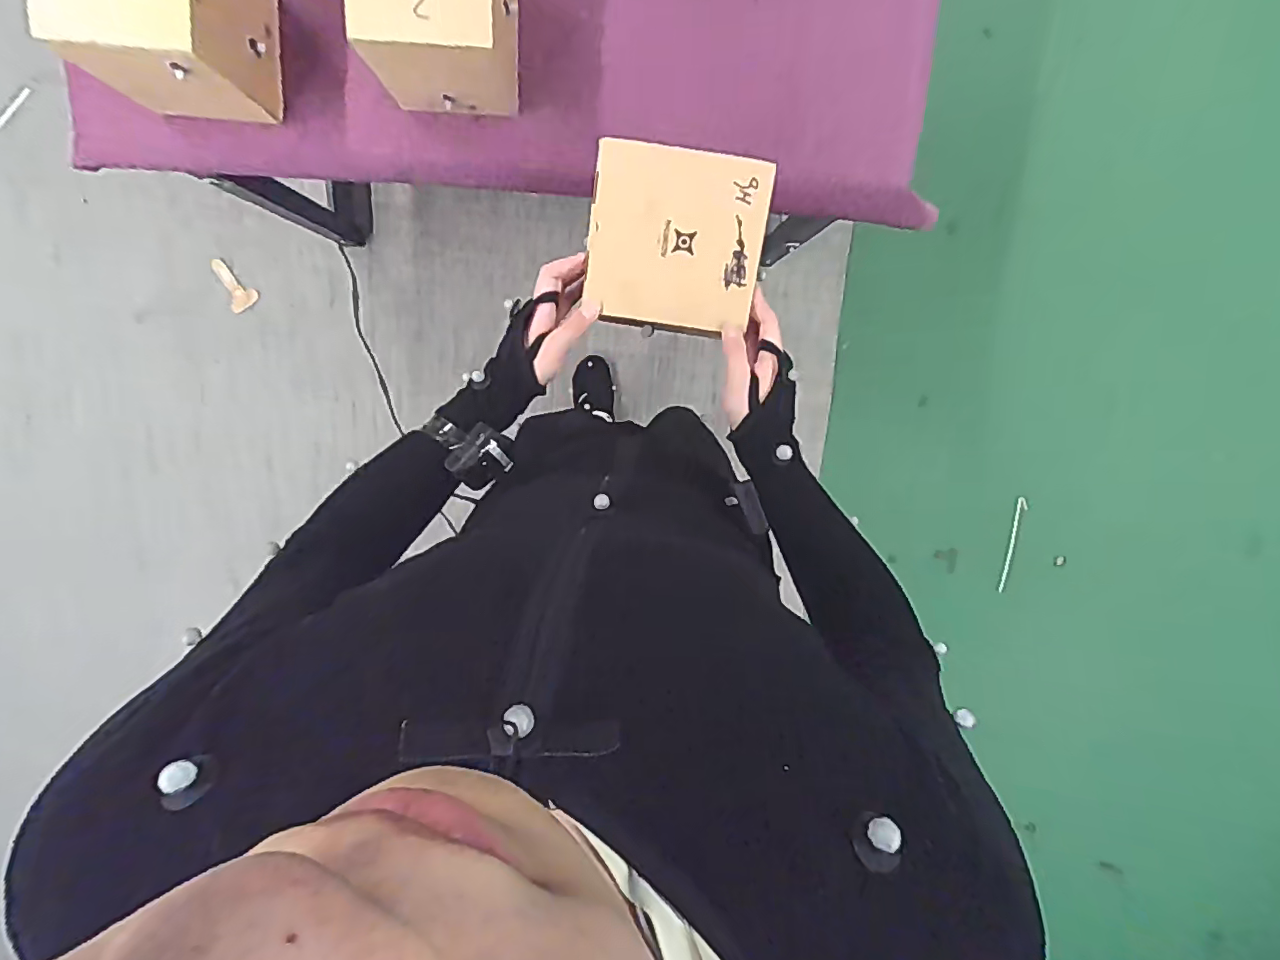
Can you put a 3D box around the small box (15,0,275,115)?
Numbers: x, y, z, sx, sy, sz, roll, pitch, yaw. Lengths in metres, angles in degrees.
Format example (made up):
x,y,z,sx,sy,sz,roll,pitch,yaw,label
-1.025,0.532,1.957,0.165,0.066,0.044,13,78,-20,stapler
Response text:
x,y,z,sx,sy,sz,roll,pitch,yaw,label
-0.586,-0.575,0.656,0.179,0.176,0.168,3,100,-4,small box
